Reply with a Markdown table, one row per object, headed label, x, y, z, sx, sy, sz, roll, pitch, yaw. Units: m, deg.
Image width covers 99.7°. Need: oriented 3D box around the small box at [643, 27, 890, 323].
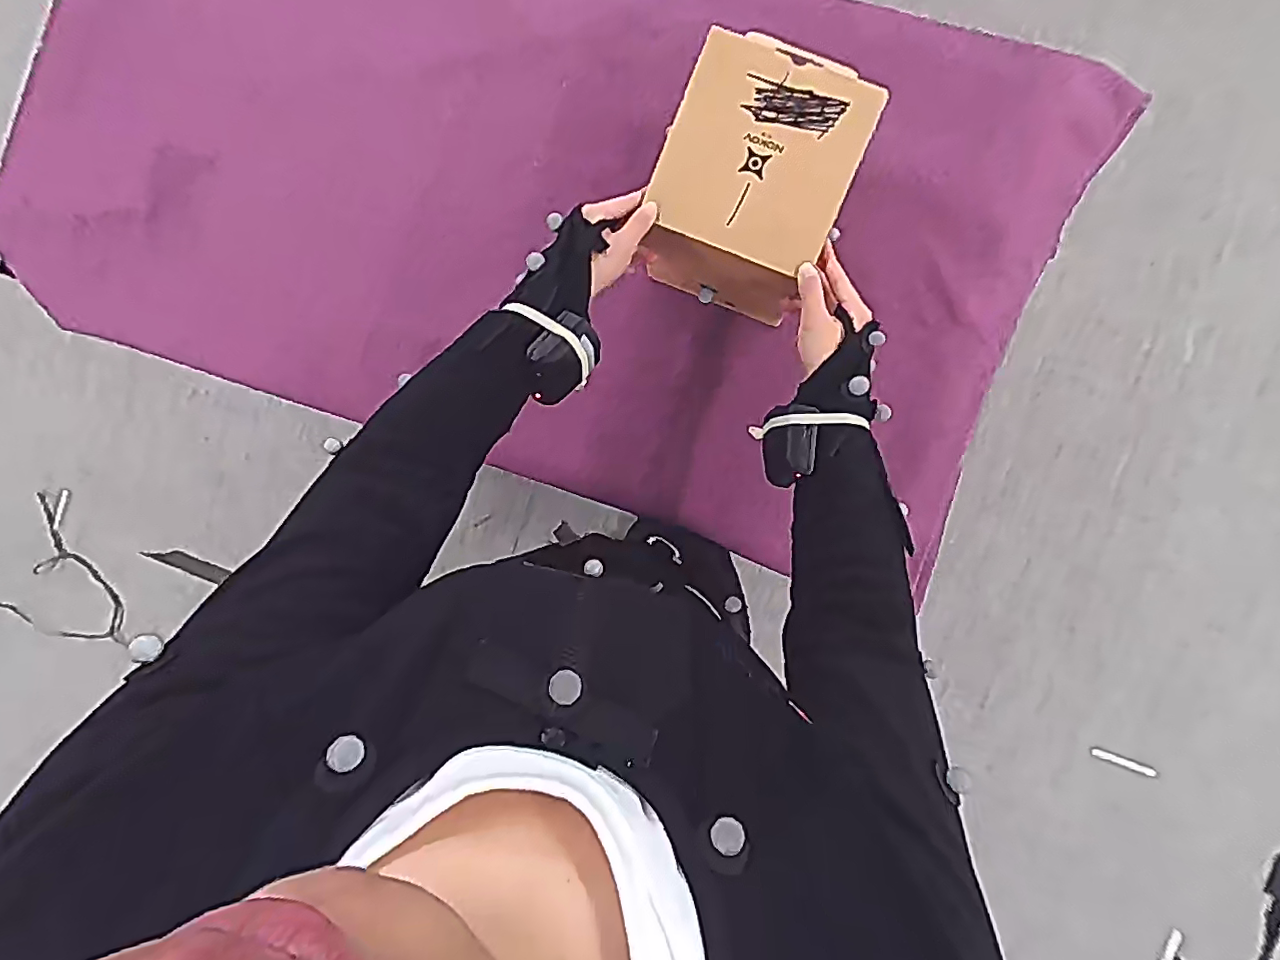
| label | x | y | z | sx | sy | sz | roll | pitch | yaw |
| --- | --- | --- | --- | --- | --- | --- | --- | --- | --- |
| small box | 0.113 | -0.286 | 0.549 | 0.168 | 0.176 | 0.179 | 23 | 94 | 4 |
